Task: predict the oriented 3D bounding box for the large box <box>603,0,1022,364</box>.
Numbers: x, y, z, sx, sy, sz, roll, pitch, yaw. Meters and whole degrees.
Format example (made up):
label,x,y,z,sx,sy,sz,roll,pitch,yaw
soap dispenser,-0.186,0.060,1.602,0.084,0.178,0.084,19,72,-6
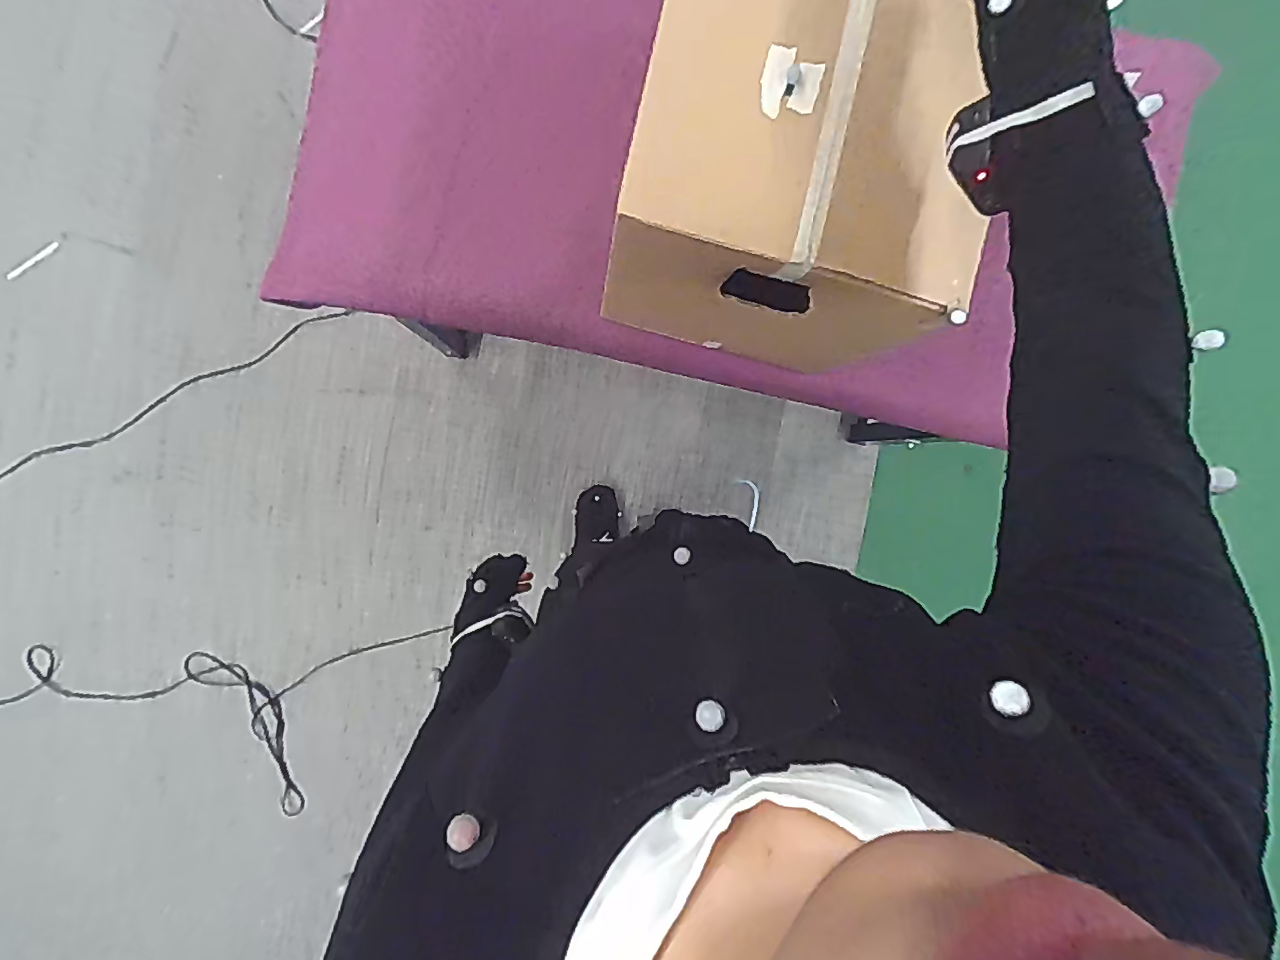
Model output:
label,x,y,z,sx,sy,sz,roll,pitch,yaw
large box,0.155,-0.384,0.611,0.320,0.320,0.408,13,91,-7
